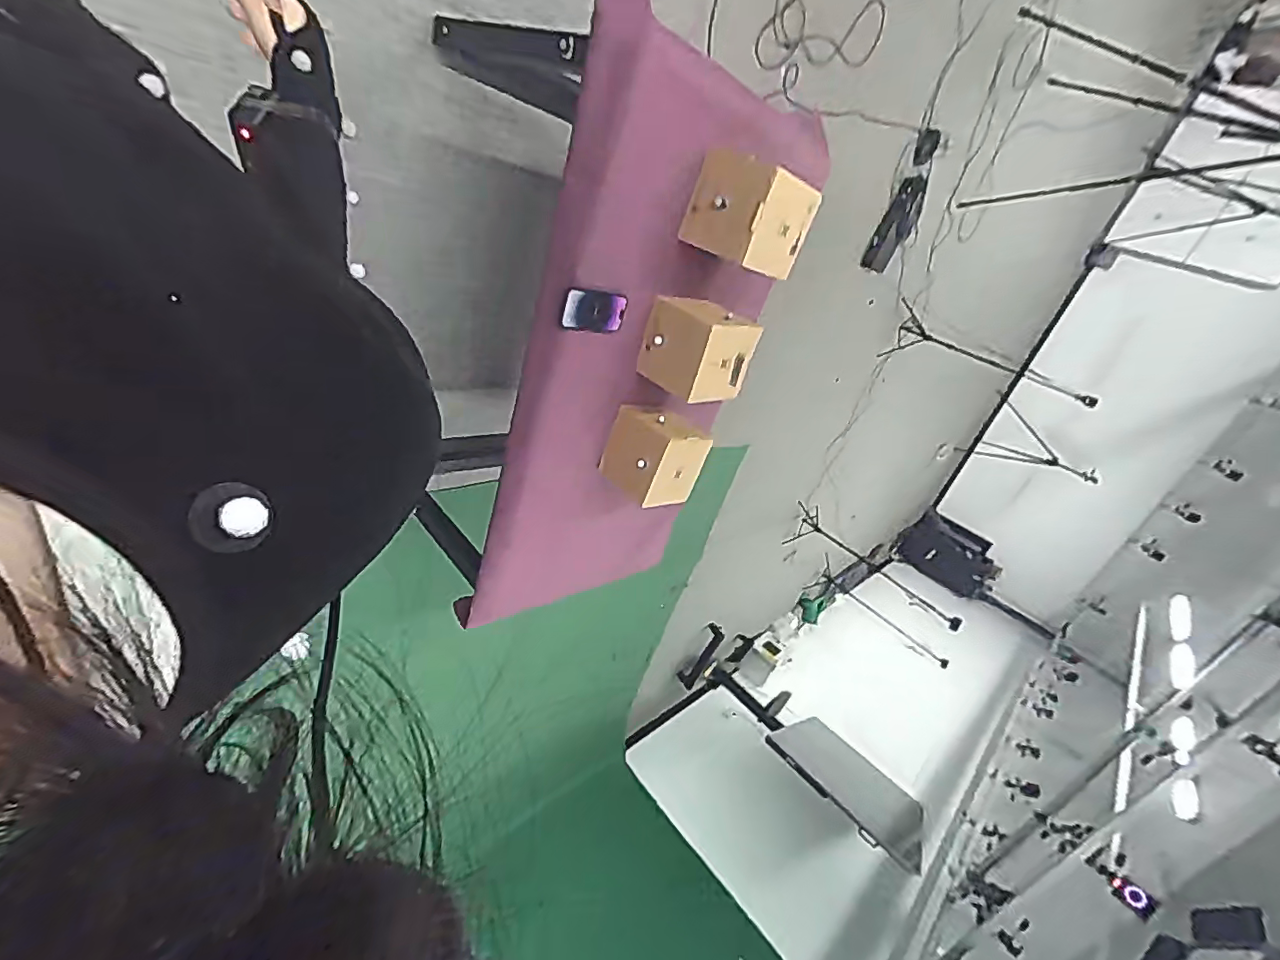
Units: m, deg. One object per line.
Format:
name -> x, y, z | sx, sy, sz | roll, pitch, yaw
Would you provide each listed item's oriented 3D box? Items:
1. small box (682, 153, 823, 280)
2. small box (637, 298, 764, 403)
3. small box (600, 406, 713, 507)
small box -> 0.210, -0.506, 1.038 | 0.179, 0.176, 0.168 | -7, 127, -47
small box -> 0.124, -0.279, 1.152 | 0.179, 0.176, 0.168 | -13, 131, -43
small box -> 0.033, -0.058, 1.255 | 0.168, 0.176, 0.179 | -4, 124, -48
